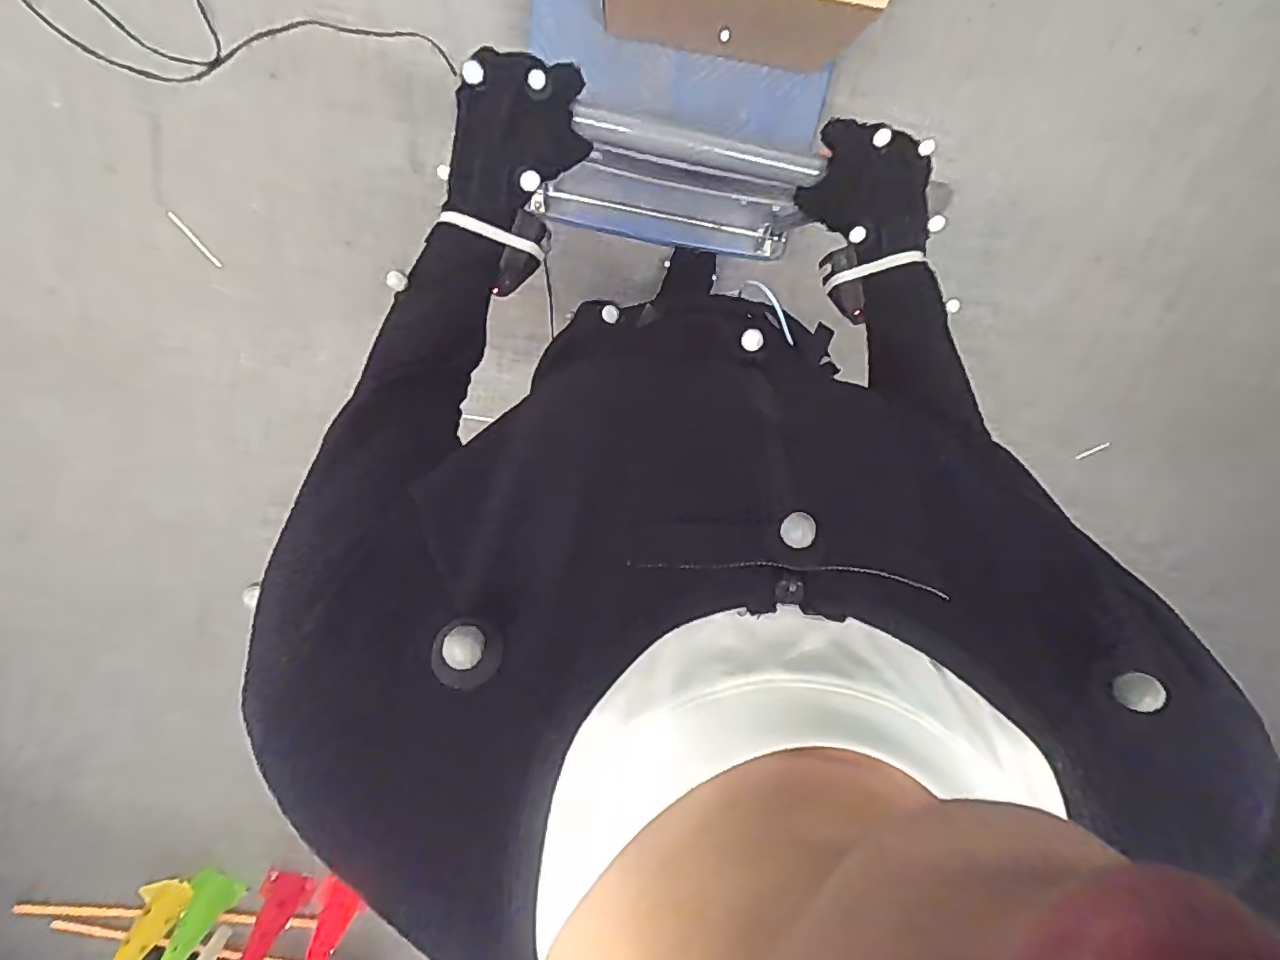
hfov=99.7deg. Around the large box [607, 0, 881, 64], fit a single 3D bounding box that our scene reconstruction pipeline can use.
[{"bbox_3d":[0.161,-0.890,0.833,0.408,0.320,0.320,6,113,-4],"label":"large box"}]
